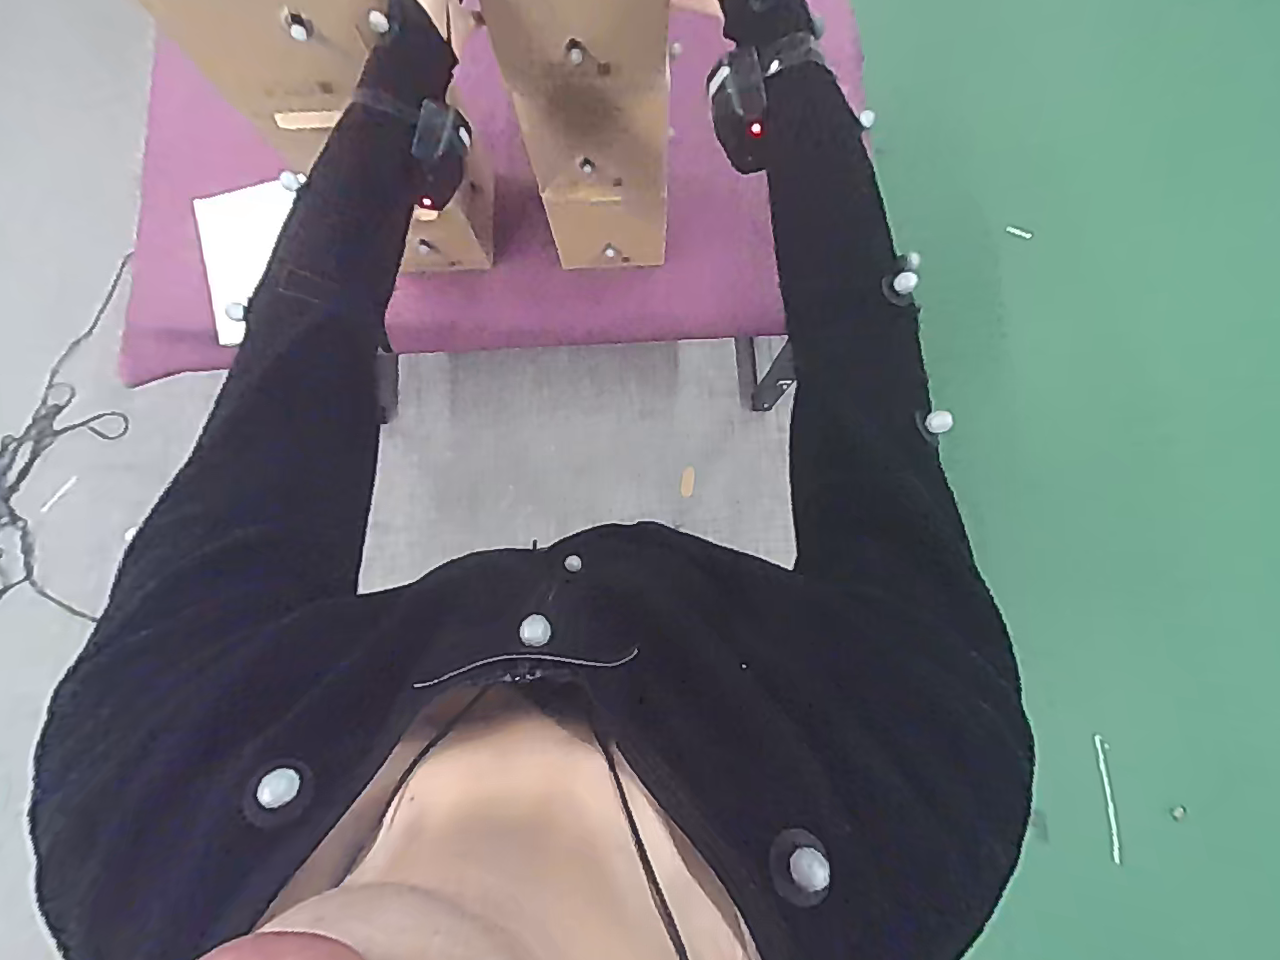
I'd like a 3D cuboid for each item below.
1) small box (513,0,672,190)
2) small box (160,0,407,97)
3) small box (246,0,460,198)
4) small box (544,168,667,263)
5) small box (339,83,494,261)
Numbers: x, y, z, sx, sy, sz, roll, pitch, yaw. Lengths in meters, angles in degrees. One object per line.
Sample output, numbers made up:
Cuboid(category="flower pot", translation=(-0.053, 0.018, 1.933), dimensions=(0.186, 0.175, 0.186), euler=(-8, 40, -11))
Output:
Cuboid(category="small box", translation=(-0.050, -0.480, 0.645), dimensions=(0.168, 0.176, 0.179), euler=(-2, 82, 0))
Cuboid(category="small box", translation=(-0.324, -0.480, 0.482), dimensions=(0.168, 0.176, 0.179), euler=(-1, 81, 0))
Cuboid(category="small box", translation=(-0.323, -0.462, 0.644), dimensions=(0.168, 0.176, 0.179), euler=(-2, 81, 0))
Cuboid(category="small box", translation=(-0.046, -0.450, 0.804), dimensions=(0.168, 0.176, 0.179), euler=(-2, 81, 2))
Cuboid(category="small box", translation=(-0.322, -0.445, 0.808), dimensions=(0.168, 0.176, 0.179), euler=(-2, 83, 0))
